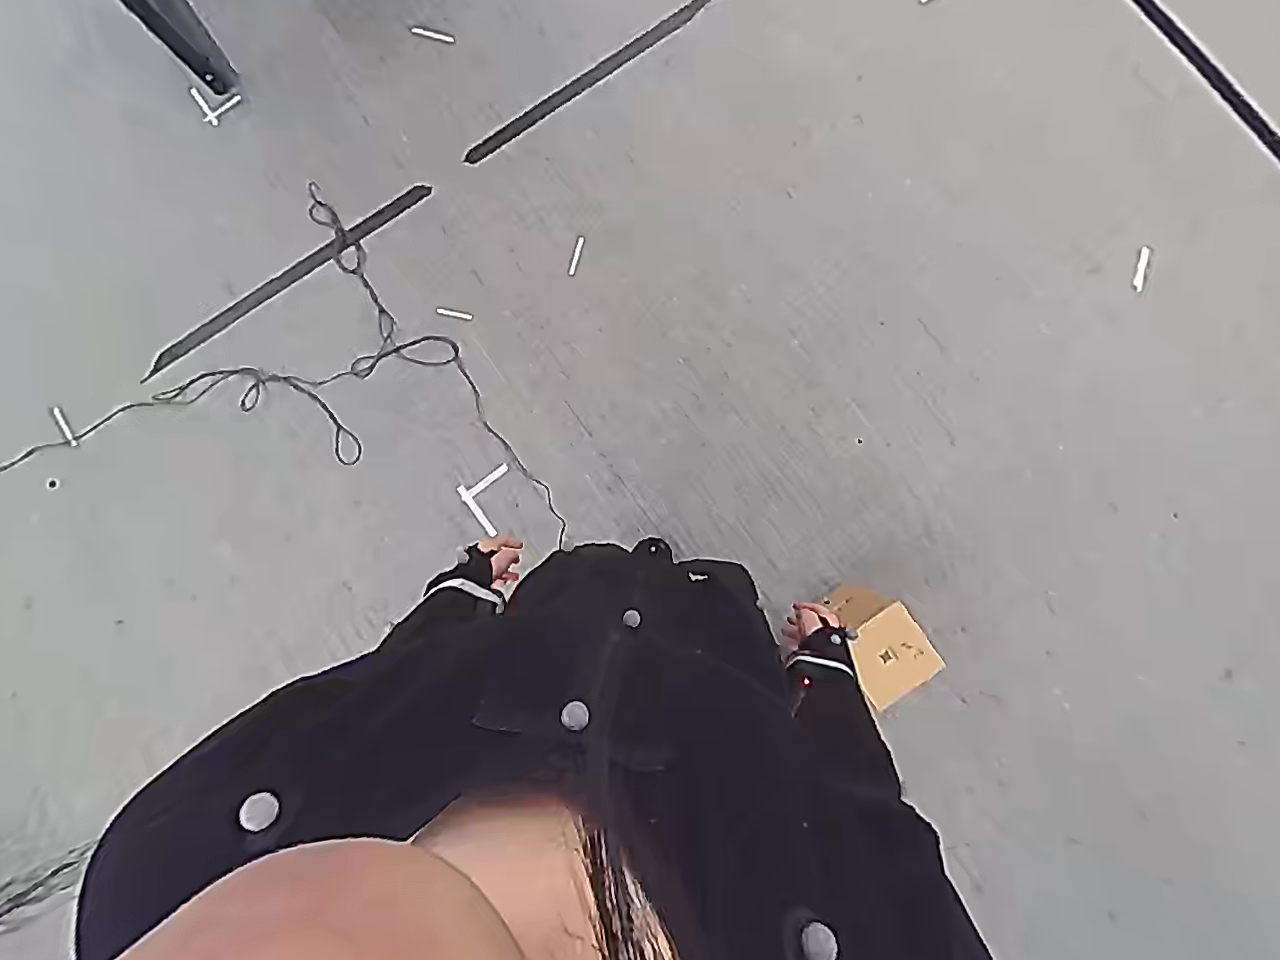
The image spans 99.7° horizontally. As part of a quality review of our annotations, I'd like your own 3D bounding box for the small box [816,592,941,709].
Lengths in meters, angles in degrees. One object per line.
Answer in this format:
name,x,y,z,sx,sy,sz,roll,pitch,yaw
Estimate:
small box,0.519,0.373,1.214,0.179,0.176,0.168,-34,85,-1
